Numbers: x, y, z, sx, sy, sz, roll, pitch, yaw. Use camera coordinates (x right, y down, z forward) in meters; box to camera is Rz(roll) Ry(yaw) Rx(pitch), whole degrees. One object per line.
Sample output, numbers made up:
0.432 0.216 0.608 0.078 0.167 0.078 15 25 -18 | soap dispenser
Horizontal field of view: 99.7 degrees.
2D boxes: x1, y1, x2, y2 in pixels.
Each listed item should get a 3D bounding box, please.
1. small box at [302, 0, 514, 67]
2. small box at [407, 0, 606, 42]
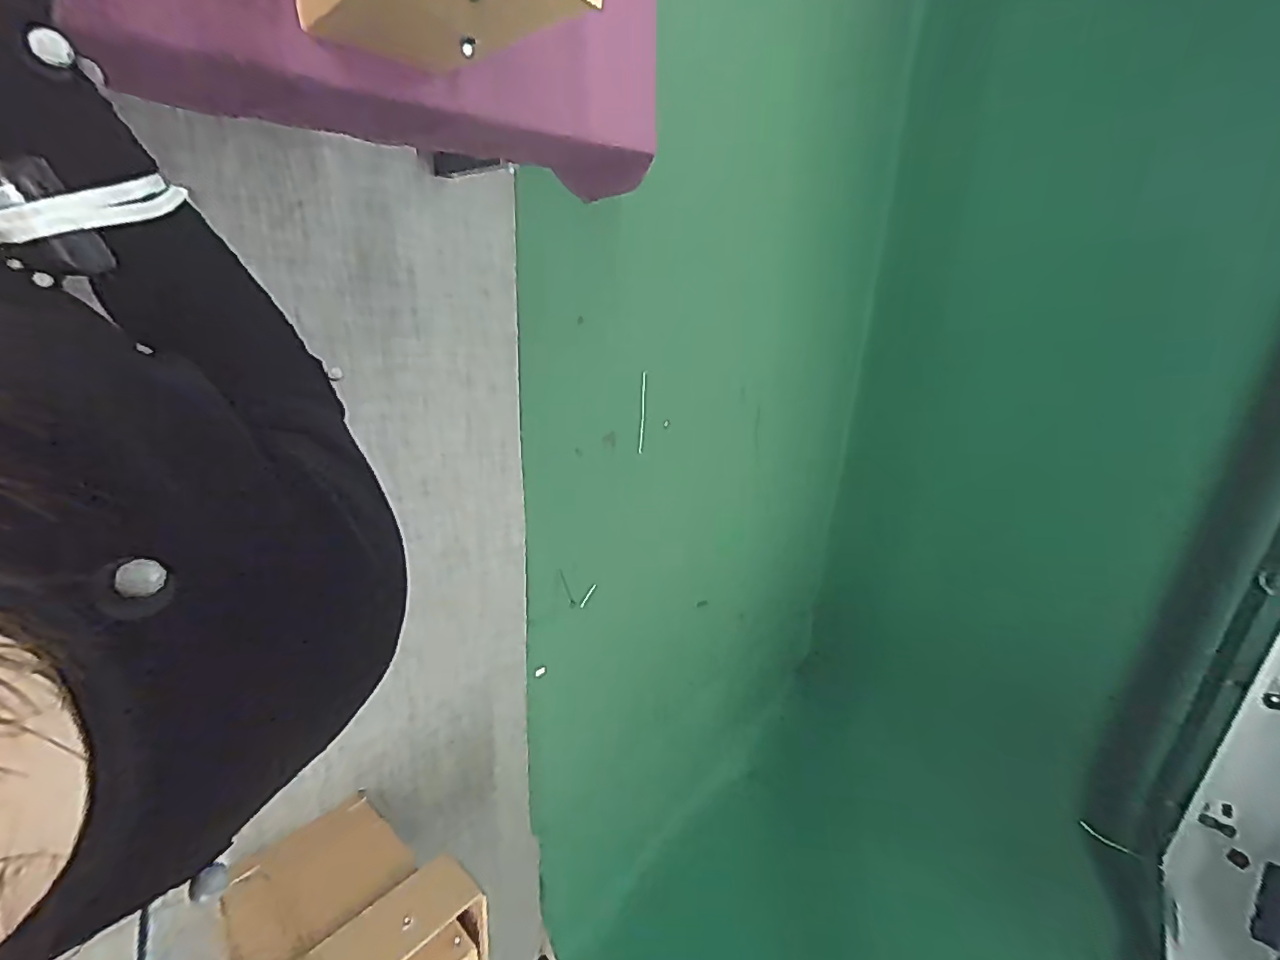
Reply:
-0.263 -0.587 0.594 0.179 0.176 0.168 -21 120 -45 | small box
-0.145 -0.539 0.489 0.179 0.176 0.168 -15 116 -47 | small box
